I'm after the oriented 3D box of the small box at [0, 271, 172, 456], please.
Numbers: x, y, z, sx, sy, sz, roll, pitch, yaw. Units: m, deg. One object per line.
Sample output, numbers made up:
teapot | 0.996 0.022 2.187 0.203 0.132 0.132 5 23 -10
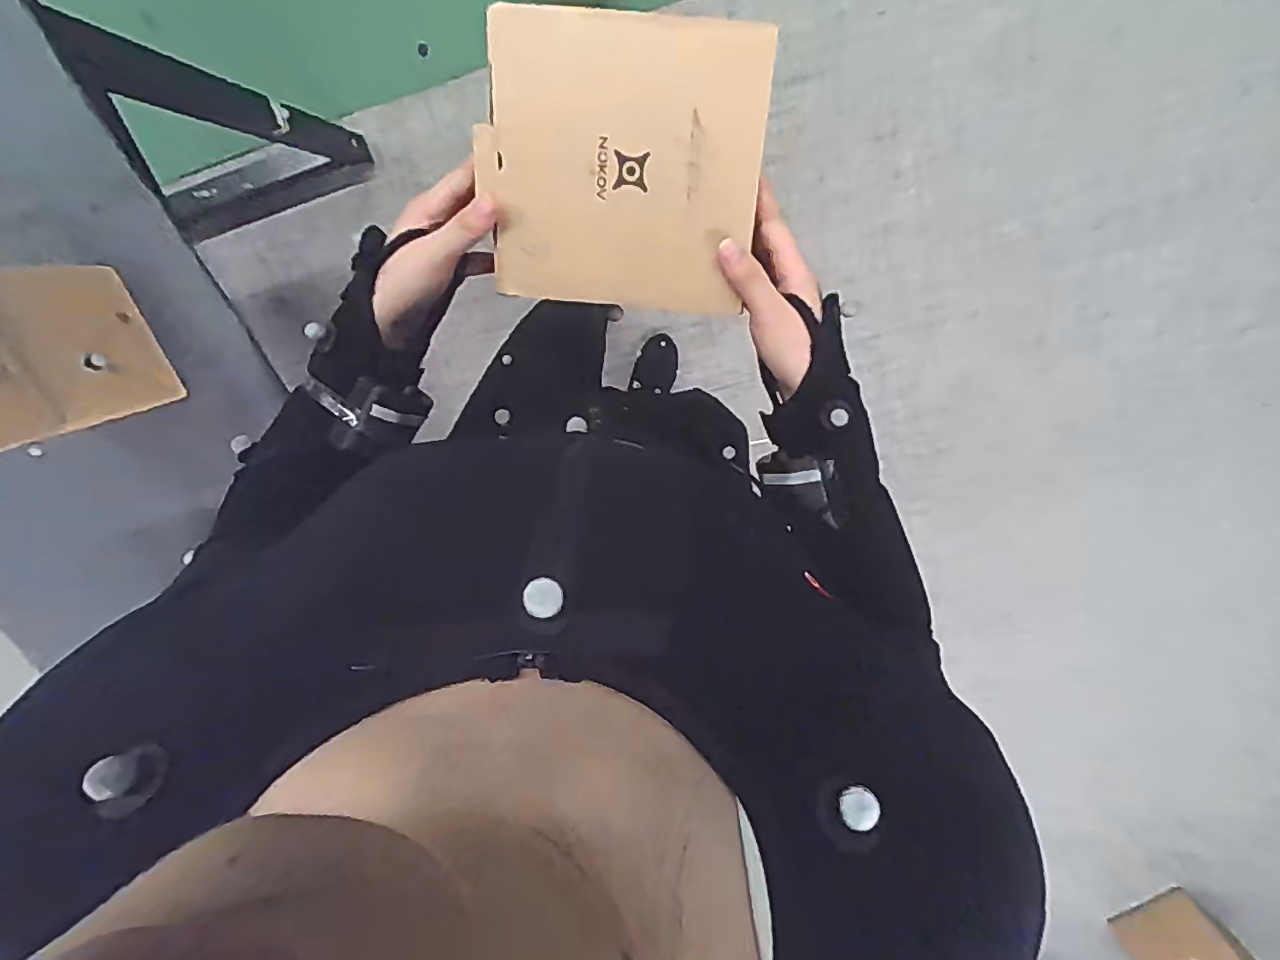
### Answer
small box | -0.693 -0.131 0.614 0.179 0.176 0.168 -14 111 9
